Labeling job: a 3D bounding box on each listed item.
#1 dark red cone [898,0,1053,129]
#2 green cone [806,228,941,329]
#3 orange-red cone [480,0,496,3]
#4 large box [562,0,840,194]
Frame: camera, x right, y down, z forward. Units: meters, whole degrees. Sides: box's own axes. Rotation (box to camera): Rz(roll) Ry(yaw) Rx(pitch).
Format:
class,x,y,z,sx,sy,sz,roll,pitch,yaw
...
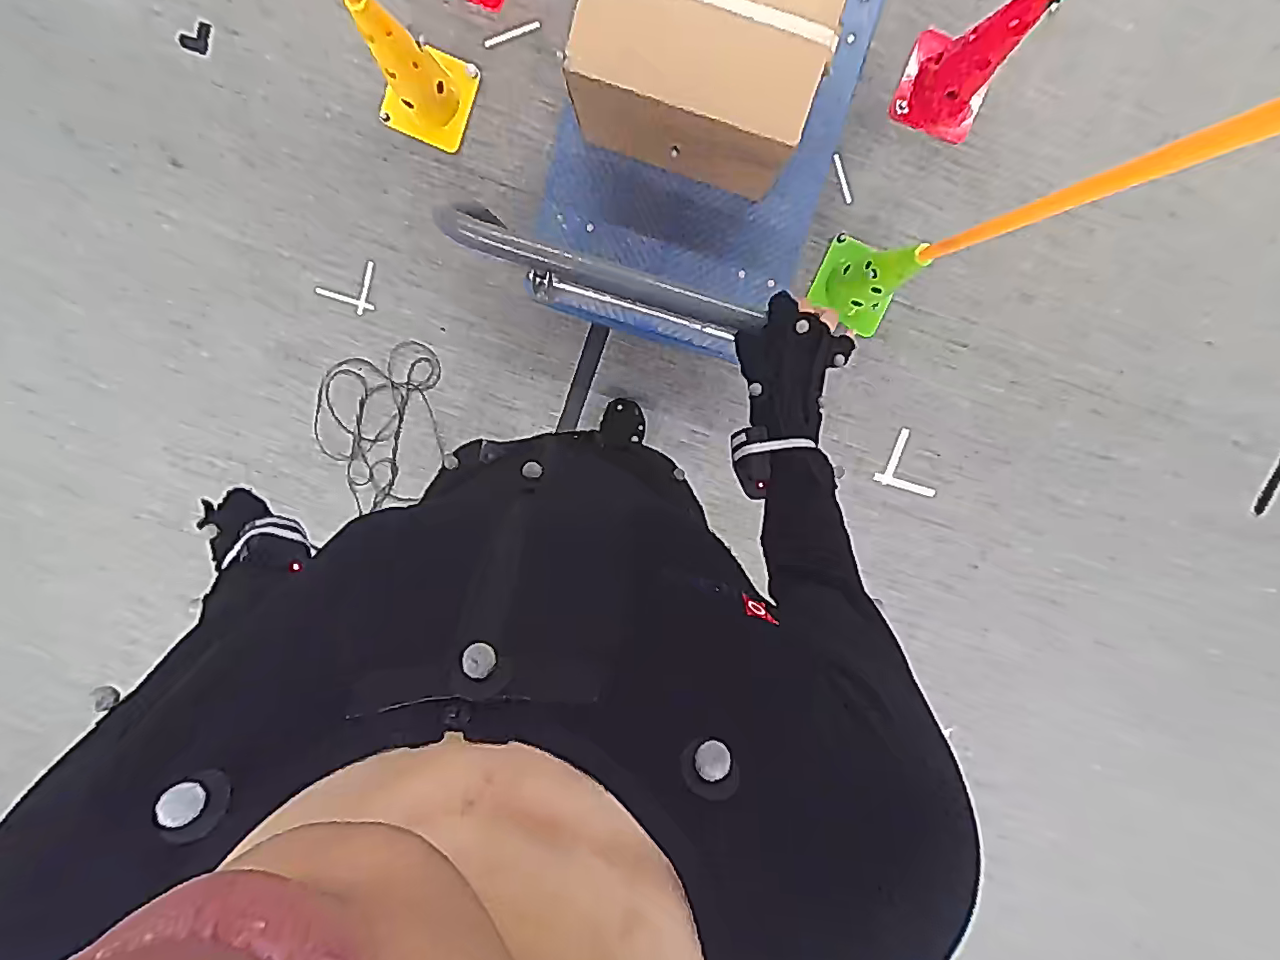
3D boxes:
class,x,y,z,sx,sy,sz,roll,pitch,yaw
dark red cone,0.720,-0.910,1.088,0.201,0.394,0.202,18,101,-5
green cone,0.543,-0.471,1.195,0.202,0.368,0.200,22,101,-5
orange-red cone,-0.378,-1.196,1.063,0.198,0.360,0.199,26,99,-5
large box,0.111,-0.779,0.994,0.408,0.320,0.320,17,102,-2
